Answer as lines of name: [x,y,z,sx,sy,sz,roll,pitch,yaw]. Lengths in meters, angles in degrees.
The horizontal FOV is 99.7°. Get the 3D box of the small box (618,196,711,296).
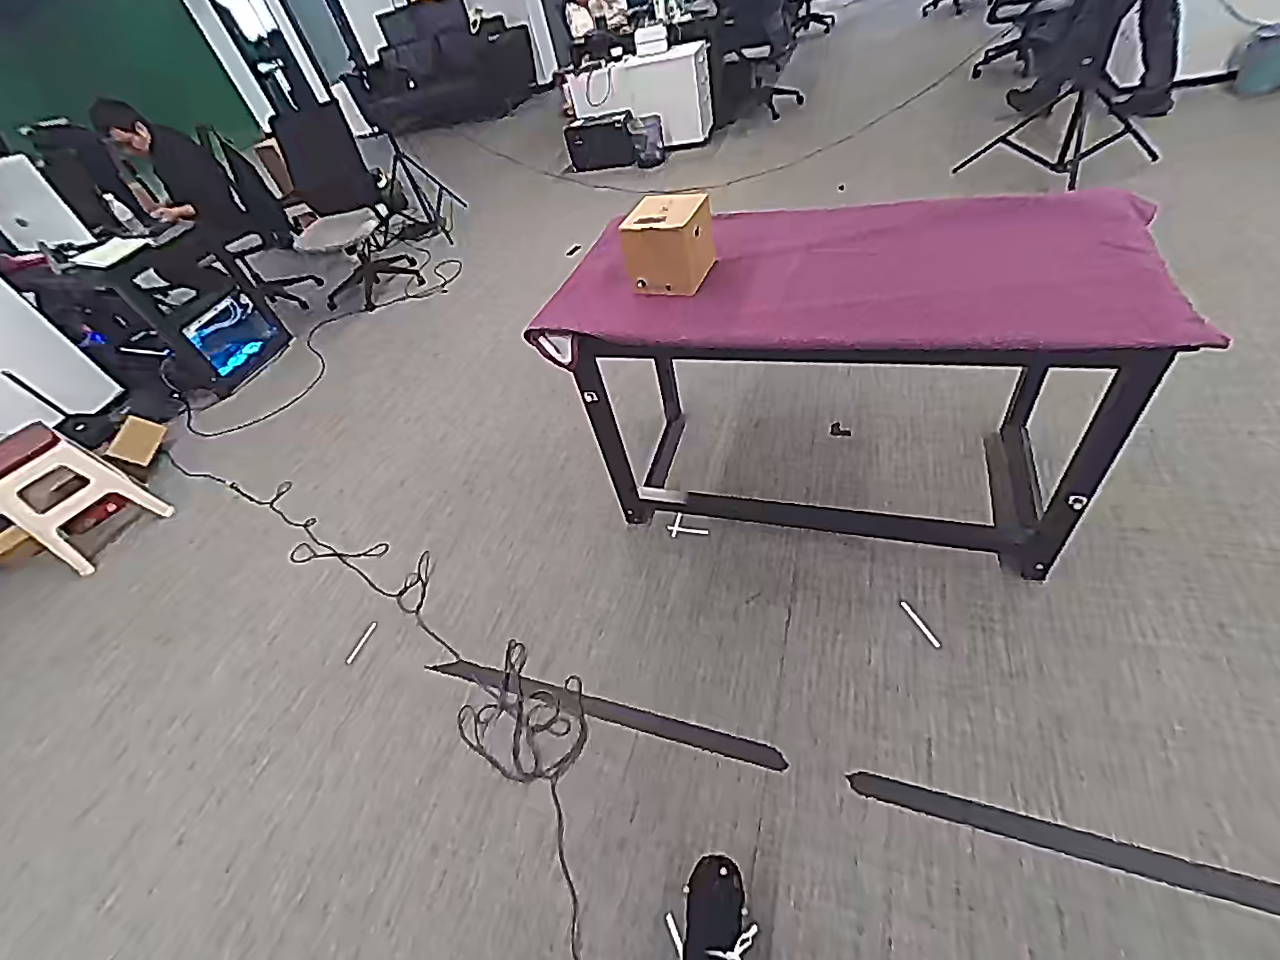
small box: [0.069,-0.569,1.324,0.168,0.176,0.179,11,52,24]
